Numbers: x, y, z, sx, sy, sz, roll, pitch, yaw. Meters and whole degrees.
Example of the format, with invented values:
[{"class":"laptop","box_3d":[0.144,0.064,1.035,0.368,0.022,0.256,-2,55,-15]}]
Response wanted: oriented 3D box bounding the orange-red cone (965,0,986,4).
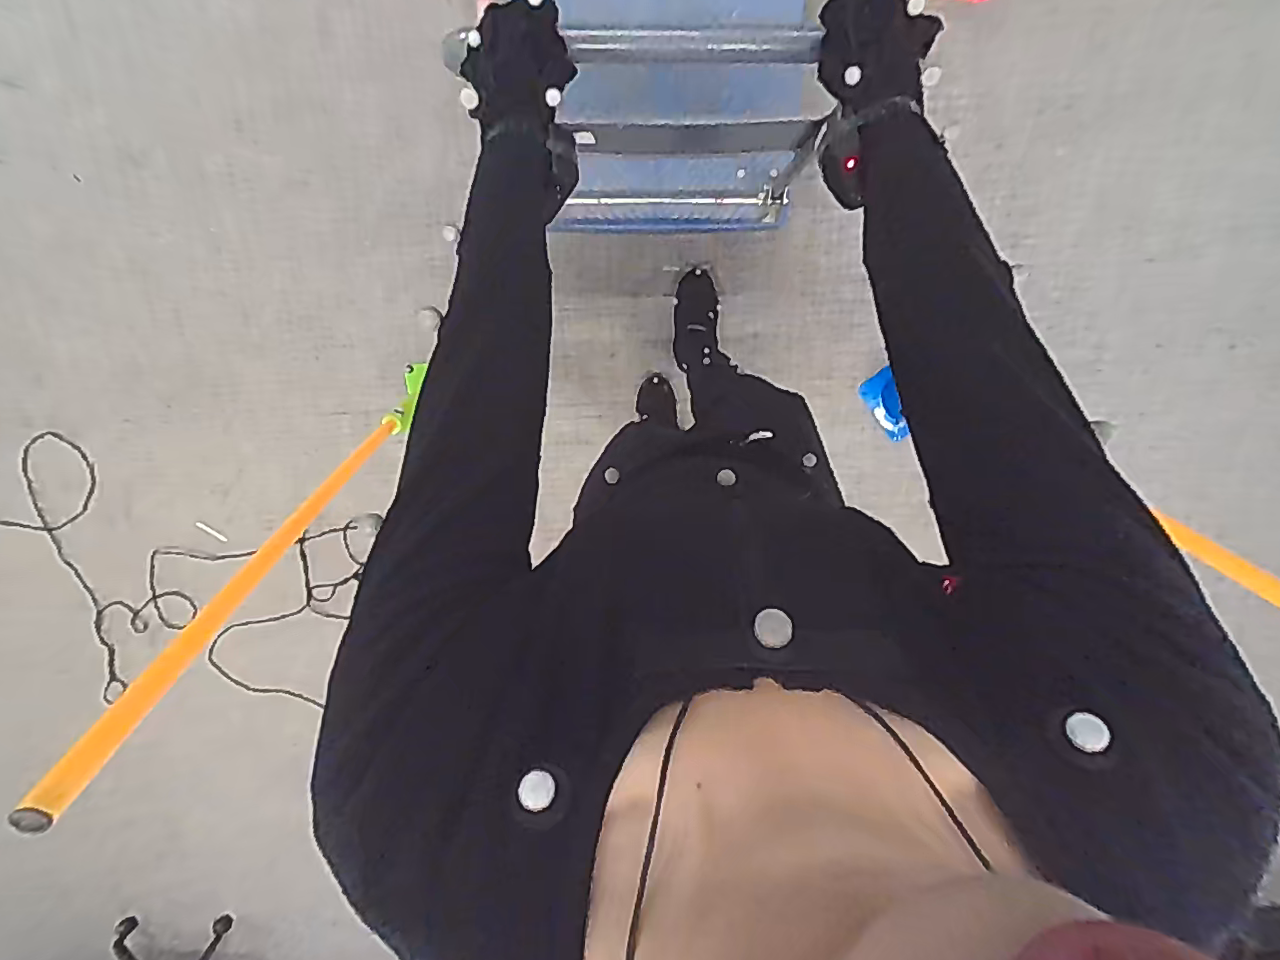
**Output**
[{"class":"orange-red cone","box_3d":[0.692,-1.107,1.003,0.198,0.360,0.199,9,108,-1]}]
